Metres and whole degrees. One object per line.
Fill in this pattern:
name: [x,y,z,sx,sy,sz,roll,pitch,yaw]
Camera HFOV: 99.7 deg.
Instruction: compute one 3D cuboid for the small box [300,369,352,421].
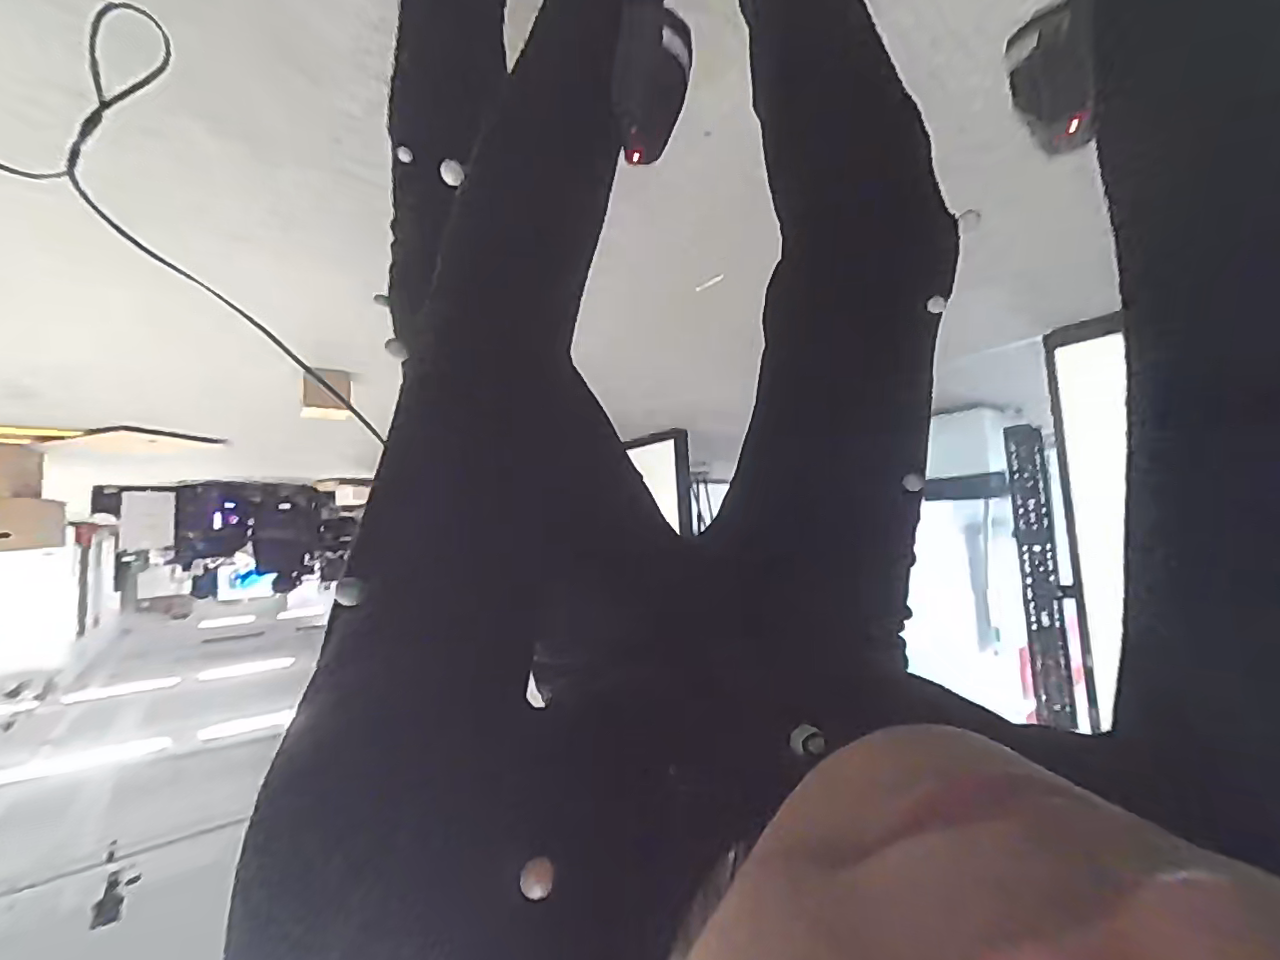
small box: [-1.276,-0.343,2.191,0.168,0.176,0.179,2,173,-36]
